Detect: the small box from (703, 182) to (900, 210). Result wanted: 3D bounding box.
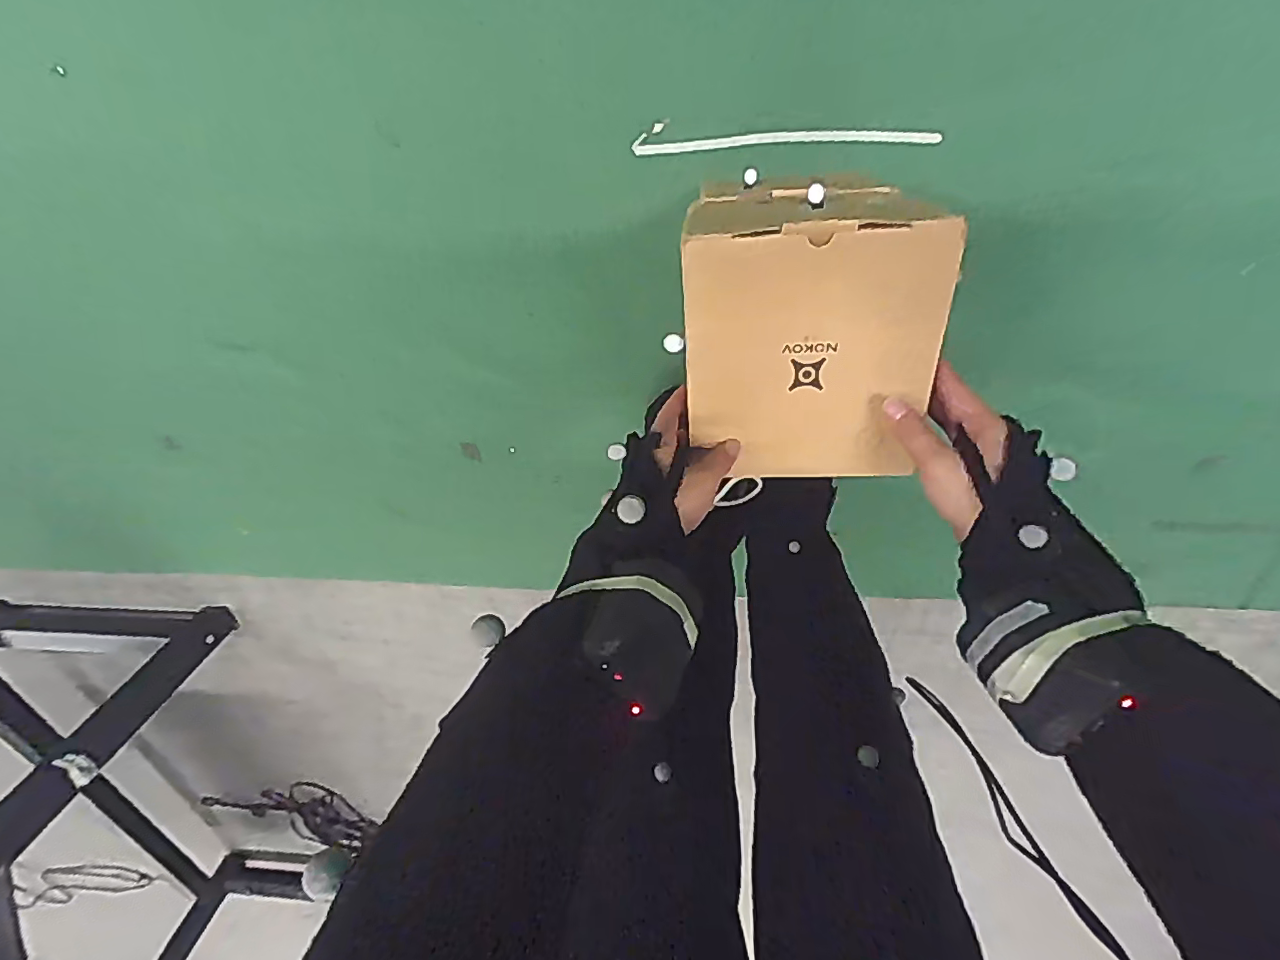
[{"bbox_3d":[0.148,-0.208,0.567,0.168,0.176,0.179,1,123,8],"label":"small box"}]

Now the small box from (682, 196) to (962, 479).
[{"bbox_3d":[0.122,-0.118,0.434,0.168,0.176,0.179,0,122,8],"label":"small box"}]
